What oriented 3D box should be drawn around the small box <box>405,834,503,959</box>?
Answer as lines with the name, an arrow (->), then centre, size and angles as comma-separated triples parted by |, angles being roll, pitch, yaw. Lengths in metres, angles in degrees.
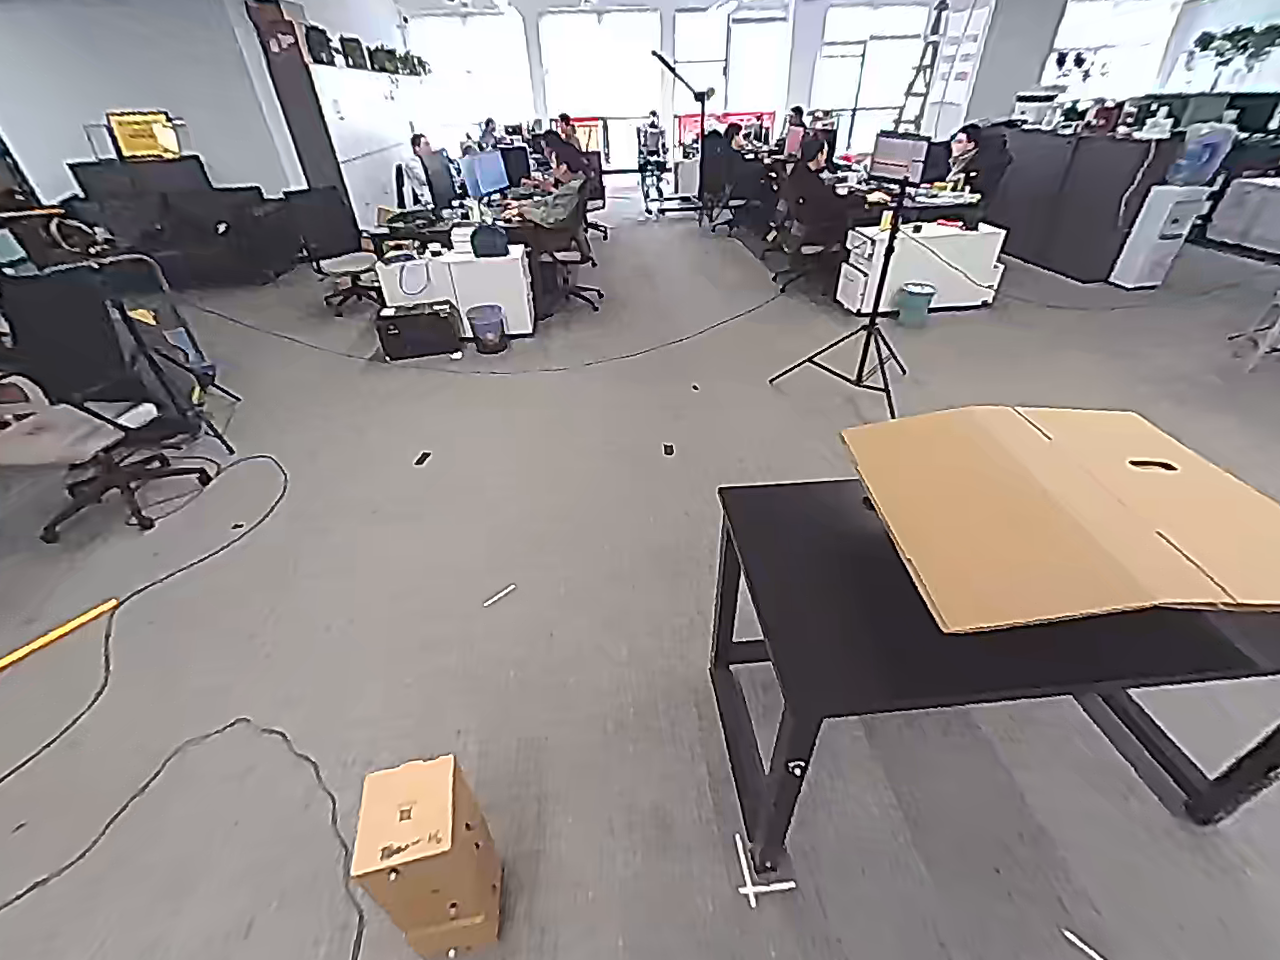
small box -> -0.407, 0.939, 1.217 | 0.168, 0.176, 0.179 | -7, 36, -6

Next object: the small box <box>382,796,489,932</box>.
small box -> -0.414, 0.804, 1.128 | 0.168, 0.176, 0.179 | -8, 34, -9

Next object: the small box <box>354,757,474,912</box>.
small box -> -0.418, 0.672, 1.029 | 0.168, 0.176, 0.179 | -10, 35, -11
